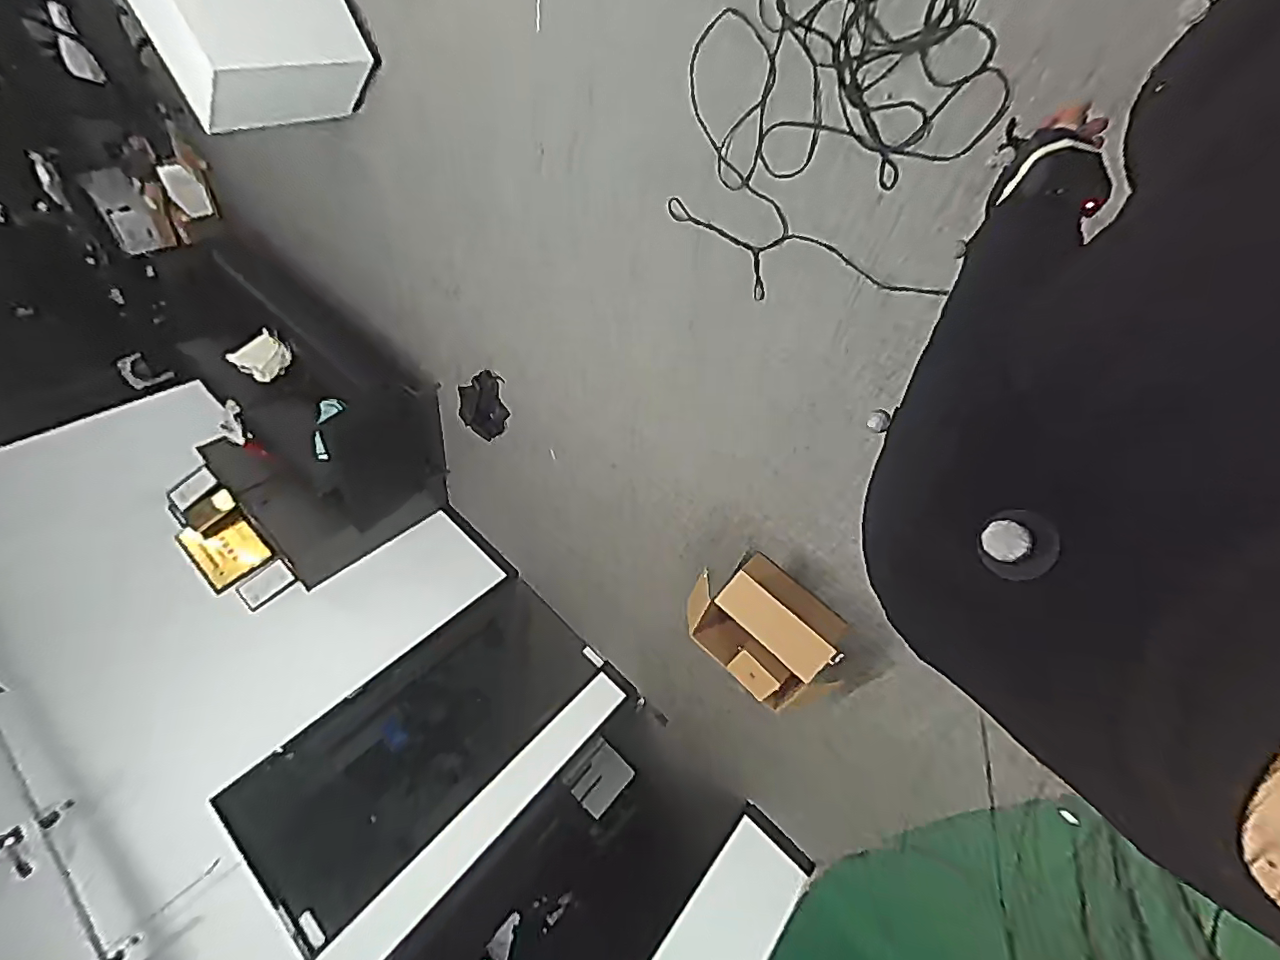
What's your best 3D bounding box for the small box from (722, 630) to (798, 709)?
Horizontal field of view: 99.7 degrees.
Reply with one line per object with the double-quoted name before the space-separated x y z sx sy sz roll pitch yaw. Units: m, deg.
"small box" 0.428 0.669 1.915 0.168 0.176 0.179 43 140 18
